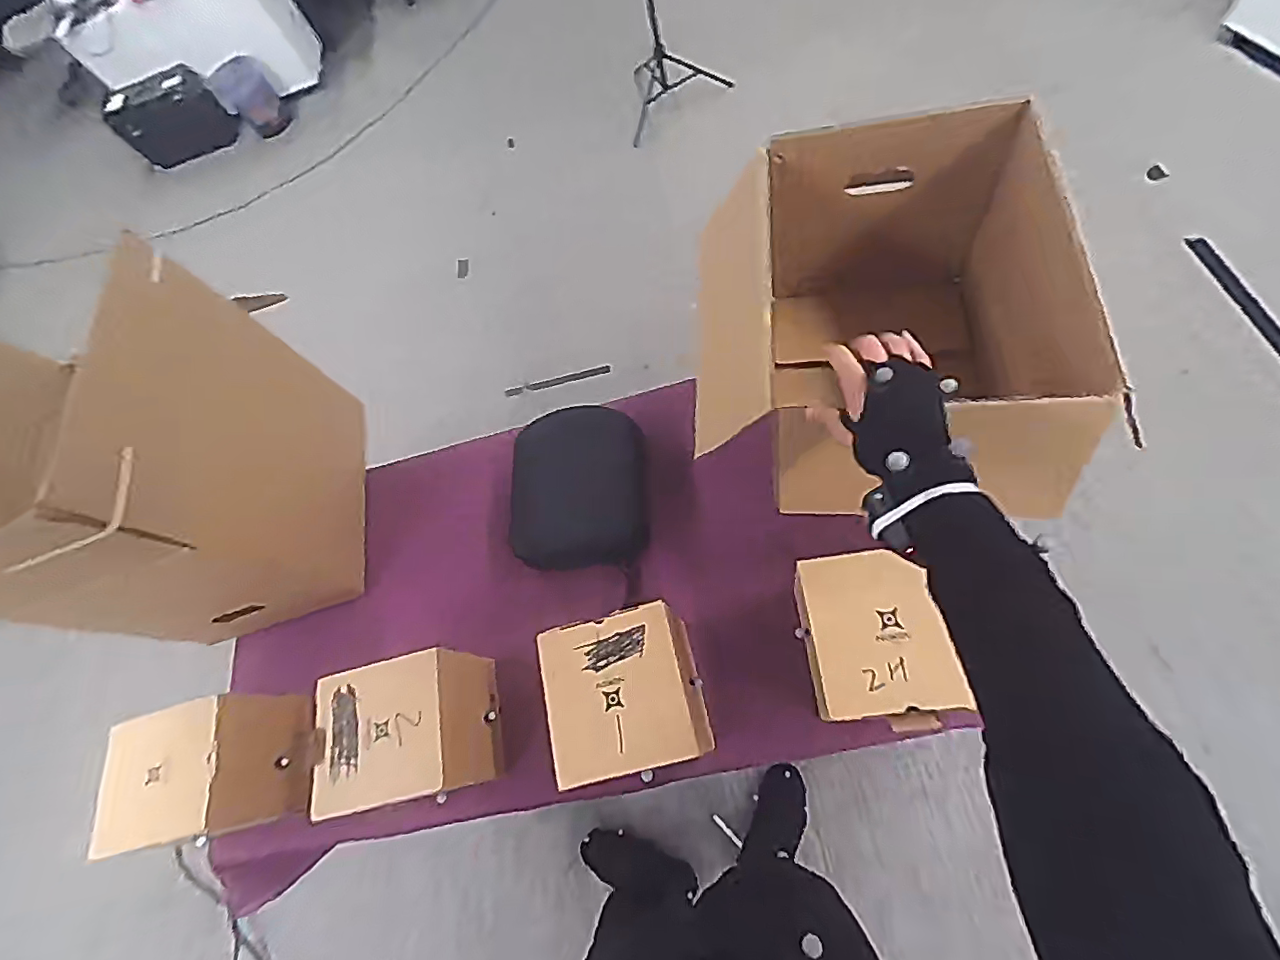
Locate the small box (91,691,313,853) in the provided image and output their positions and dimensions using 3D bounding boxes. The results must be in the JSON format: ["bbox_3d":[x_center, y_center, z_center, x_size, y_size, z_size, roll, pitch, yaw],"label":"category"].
[{"bbox_3d":[-0.619,0.417,0.787,0.179,0.176,0.168,-17,64,5],"label":"small box"}]

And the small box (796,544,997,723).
[{"bbox_3d":[0.287,0.193,0.654,0.168,0.176,0.179,-10,65,11],"label":"small box"}]
